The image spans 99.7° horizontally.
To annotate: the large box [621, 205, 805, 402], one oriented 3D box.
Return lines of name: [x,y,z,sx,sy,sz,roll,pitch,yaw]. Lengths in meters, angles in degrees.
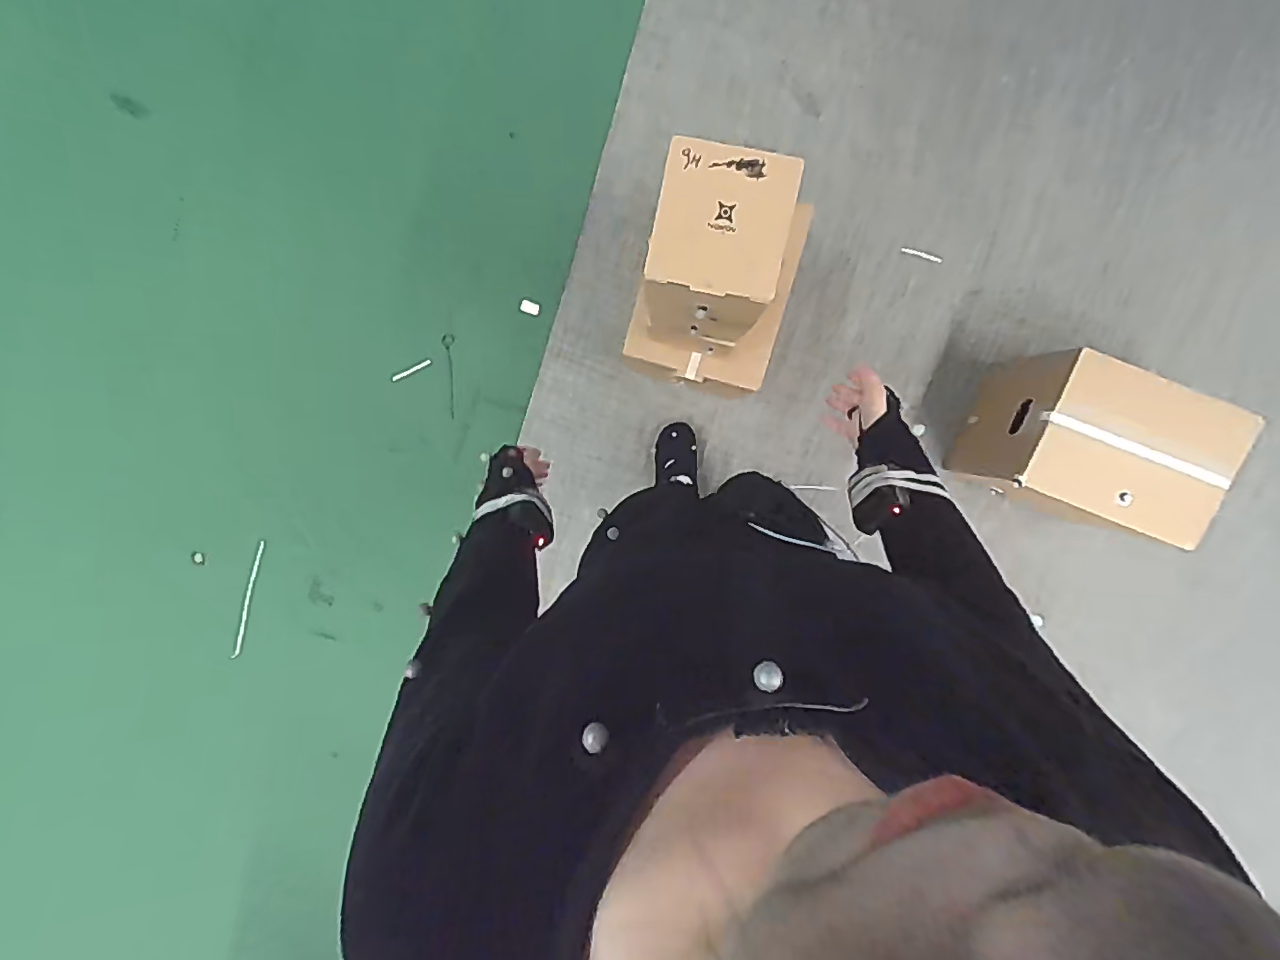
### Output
large box: [0.162,-0.427,1.303,0.320,0.320,0.408,16,95,1]

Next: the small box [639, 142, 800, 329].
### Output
small box: [0.102,-0.318,0.742,0.168,0.176,0.179,13,96,3]

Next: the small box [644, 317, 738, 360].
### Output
small box: [0.115,-0.342,1.068,0.179,0.176,0.168,15,95,3]

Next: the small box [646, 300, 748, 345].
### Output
small box: [0.109,-0.334,0.905,0.168,0.176,0.179,10,95,2]
